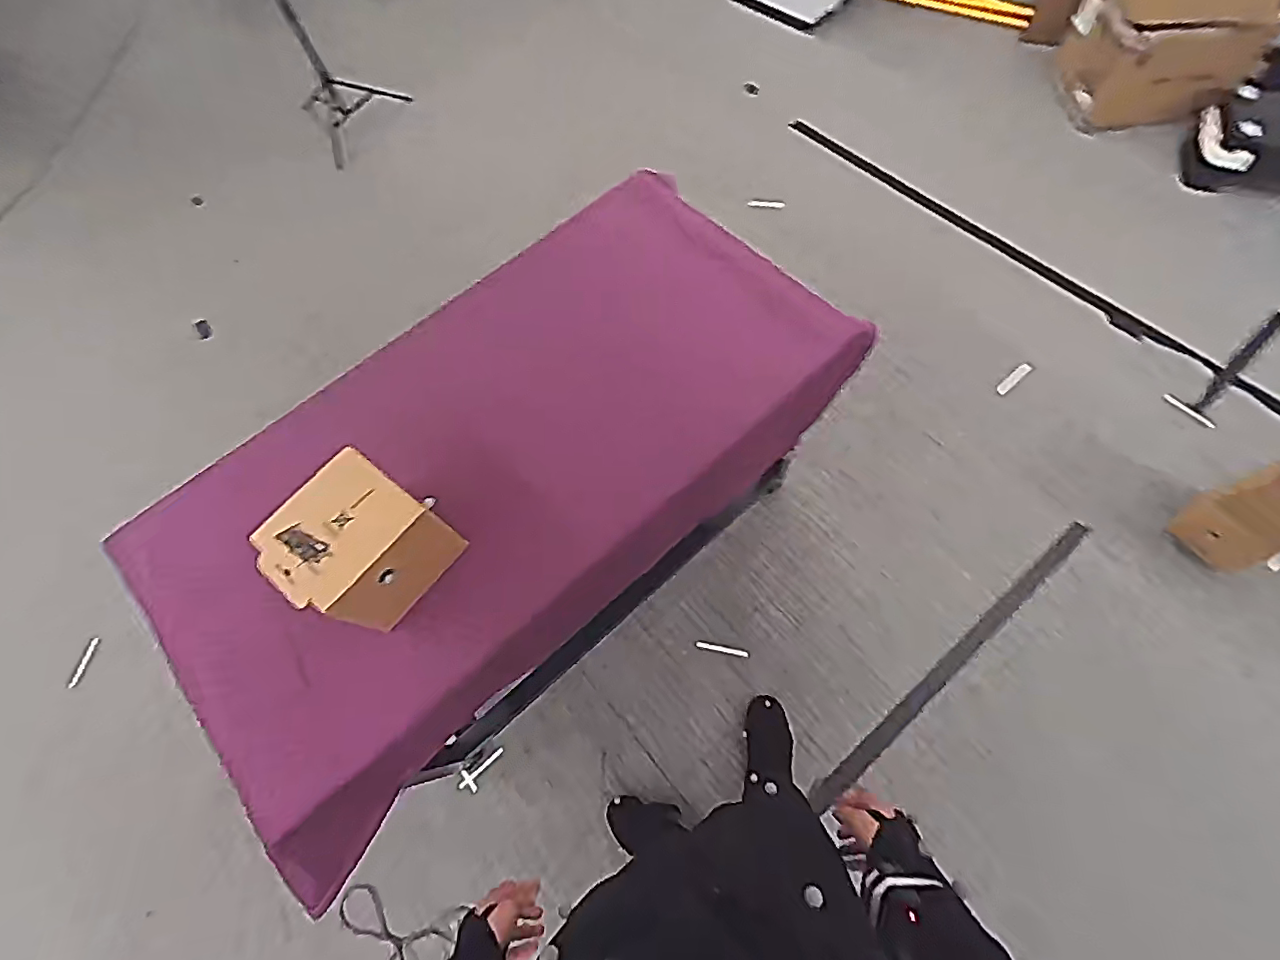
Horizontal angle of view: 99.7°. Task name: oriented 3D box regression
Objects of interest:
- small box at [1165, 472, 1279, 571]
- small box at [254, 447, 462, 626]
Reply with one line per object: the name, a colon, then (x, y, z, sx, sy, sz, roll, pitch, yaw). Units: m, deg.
small box: (1.562, 0.116, 1.426, 0.179, 0.176, 0.168, -36, 69, -11)
small box: (-0.398, 0.091, 0.795, 0.168, 0.176, 0.179, 35, 73, 17)
